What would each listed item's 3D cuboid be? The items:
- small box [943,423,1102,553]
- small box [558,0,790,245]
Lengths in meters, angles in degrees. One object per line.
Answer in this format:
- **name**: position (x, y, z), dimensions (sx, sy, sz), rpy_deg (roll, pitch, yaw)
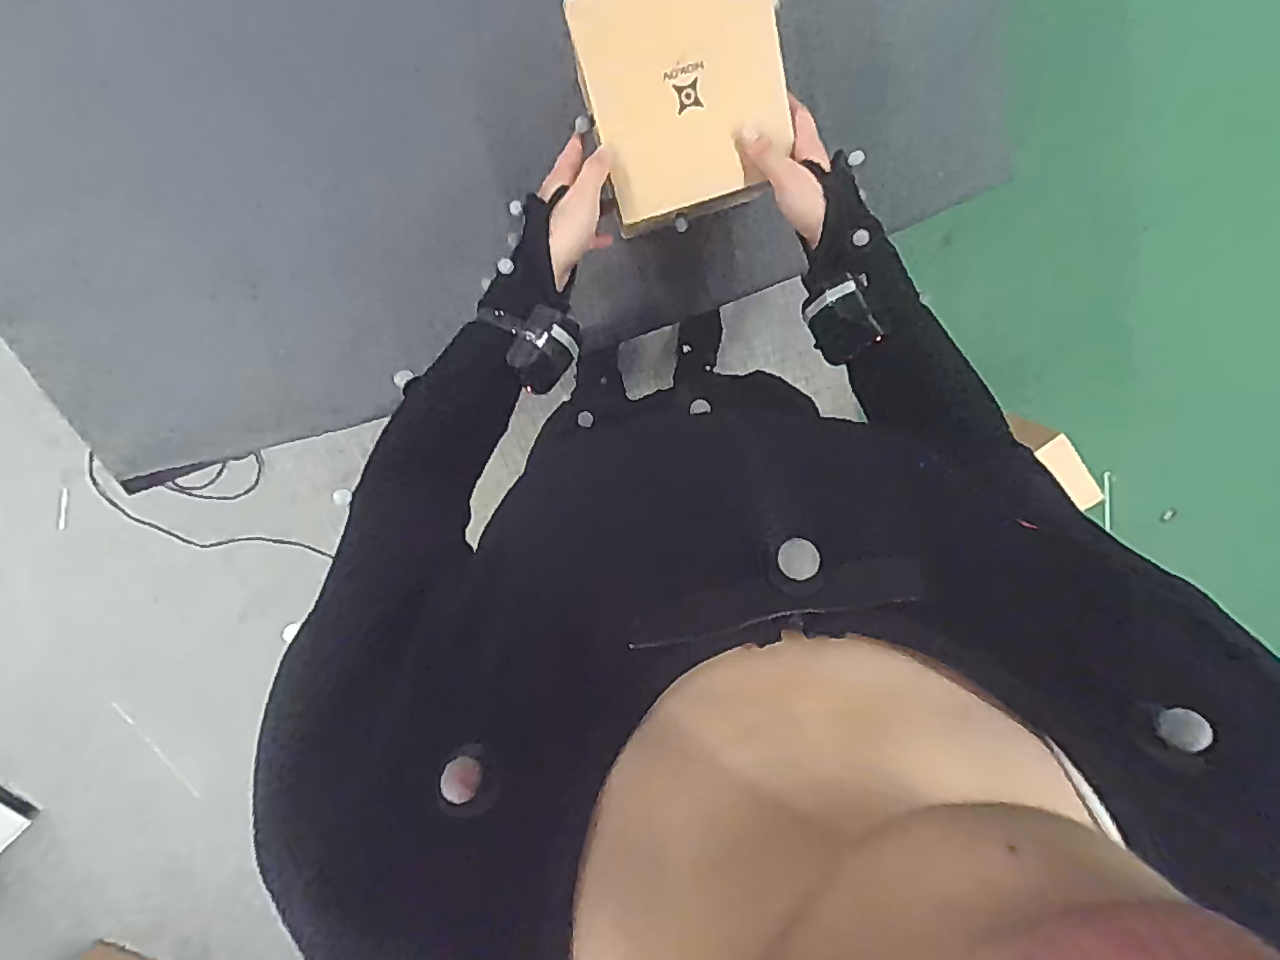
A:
- **small box**: position (0.768, 0.009, 1.103), dimensions (0.168, 0.176, 0.179), rpy_deg (-40, 105, 14)
- **small box**: position (0.033, -0.343, 0.532), dimensions (0.168, 0.176, 0.179), rpy_deg (-15, 108, 4)
